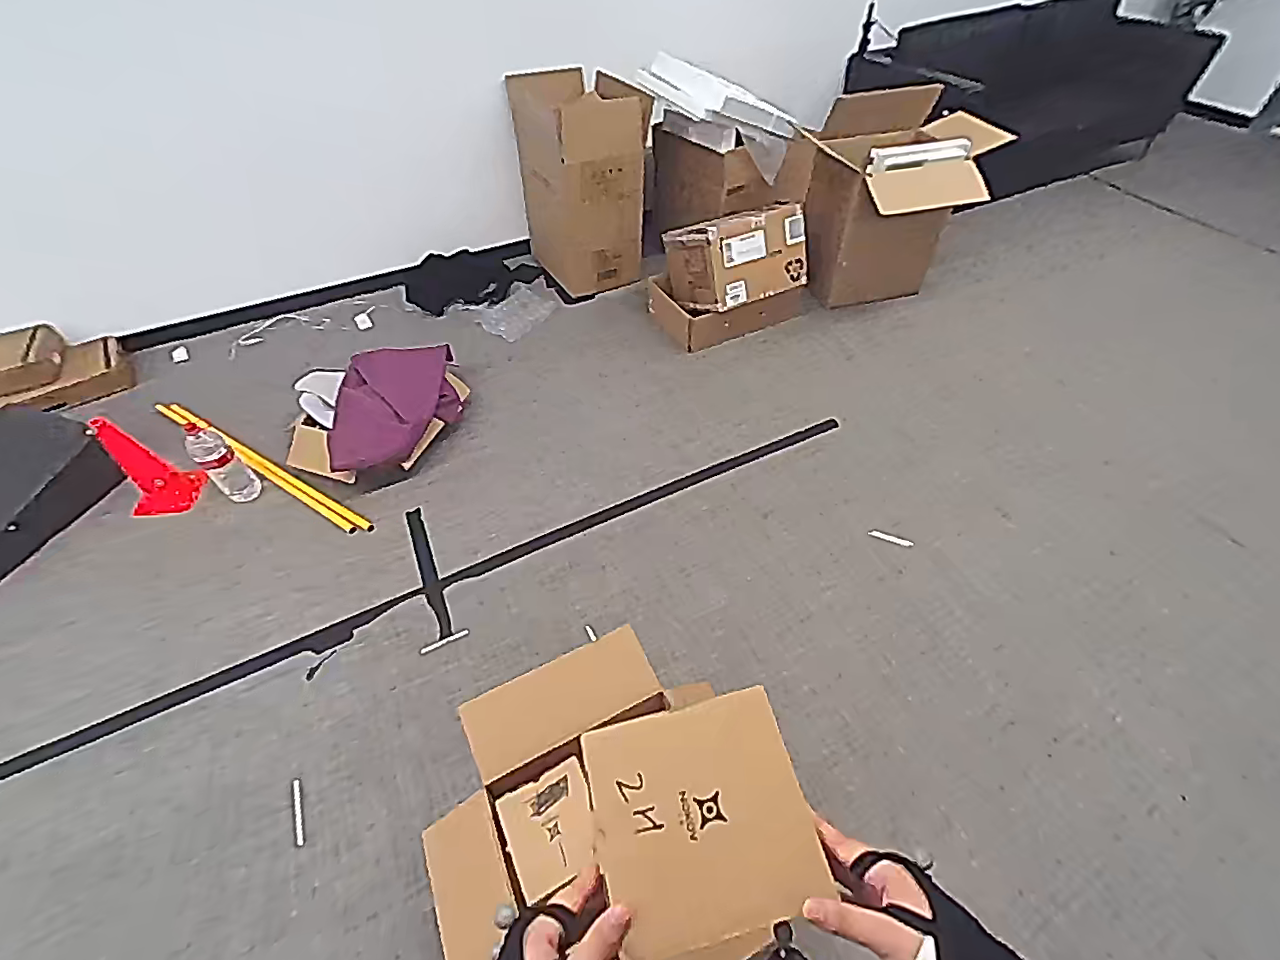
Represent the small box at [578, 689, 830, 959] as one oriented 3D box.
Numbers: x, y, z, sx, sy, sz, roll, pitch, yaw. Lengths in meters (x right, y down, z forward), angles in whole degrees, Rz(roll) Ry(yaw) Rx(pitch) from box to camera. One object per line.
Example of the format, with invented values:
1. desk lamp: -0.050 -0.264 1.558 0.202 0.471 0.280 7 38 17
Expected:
1. small box: 0.049 0.321 0.517 0.179 0.176 0.168 -14 56 -5
